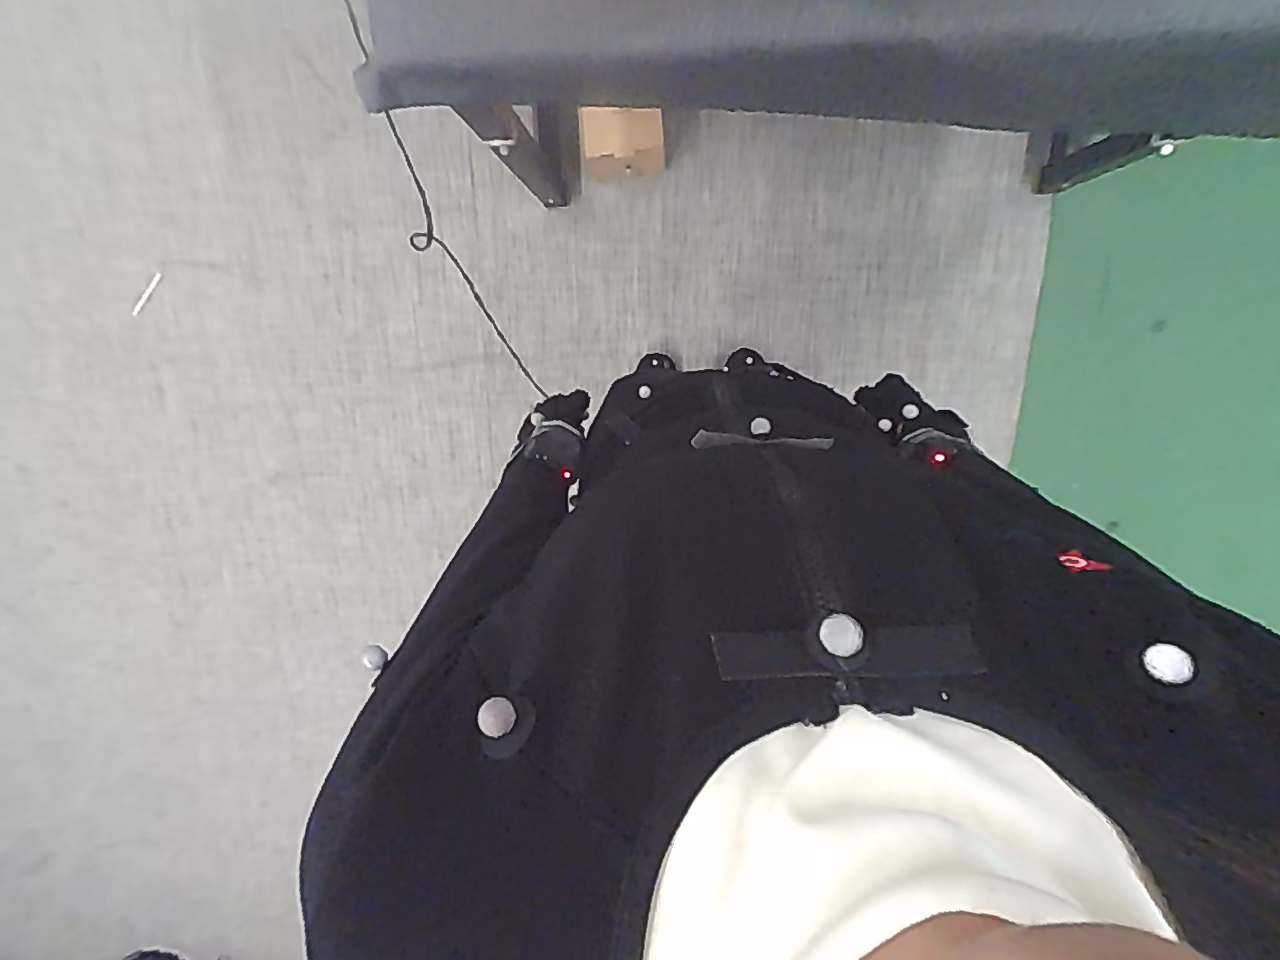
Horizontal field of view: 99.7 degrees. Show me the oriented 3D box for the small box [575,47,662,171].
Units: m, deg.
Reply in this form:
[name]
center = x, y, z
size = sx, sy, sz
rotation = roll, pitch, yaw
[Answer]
[small box]
center = -0.039, -0.789, 1.172
size = 0.168, 0.176, 0.179
rotation = -4, 105, 3
